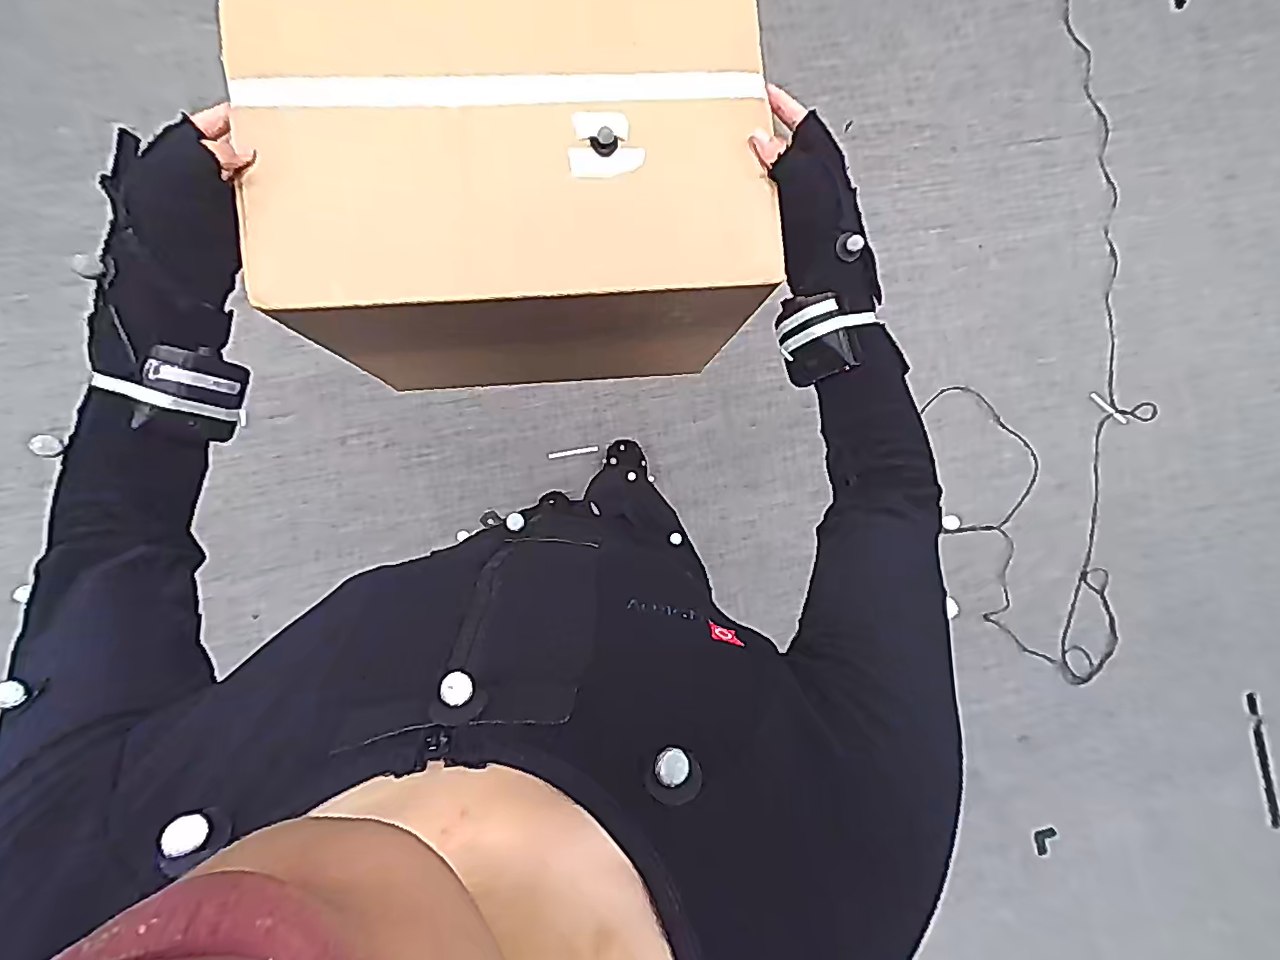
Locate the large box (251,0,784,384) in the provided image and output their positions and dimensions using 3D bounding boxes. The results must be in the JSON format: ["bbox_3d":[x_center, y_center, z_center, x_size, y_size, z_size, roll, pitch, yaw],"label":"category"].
[{"bbox_3d":[-0.109,-0.300,0.577,0.408,0.320,0.320,-6,89,-7],"label":"large box"}]
